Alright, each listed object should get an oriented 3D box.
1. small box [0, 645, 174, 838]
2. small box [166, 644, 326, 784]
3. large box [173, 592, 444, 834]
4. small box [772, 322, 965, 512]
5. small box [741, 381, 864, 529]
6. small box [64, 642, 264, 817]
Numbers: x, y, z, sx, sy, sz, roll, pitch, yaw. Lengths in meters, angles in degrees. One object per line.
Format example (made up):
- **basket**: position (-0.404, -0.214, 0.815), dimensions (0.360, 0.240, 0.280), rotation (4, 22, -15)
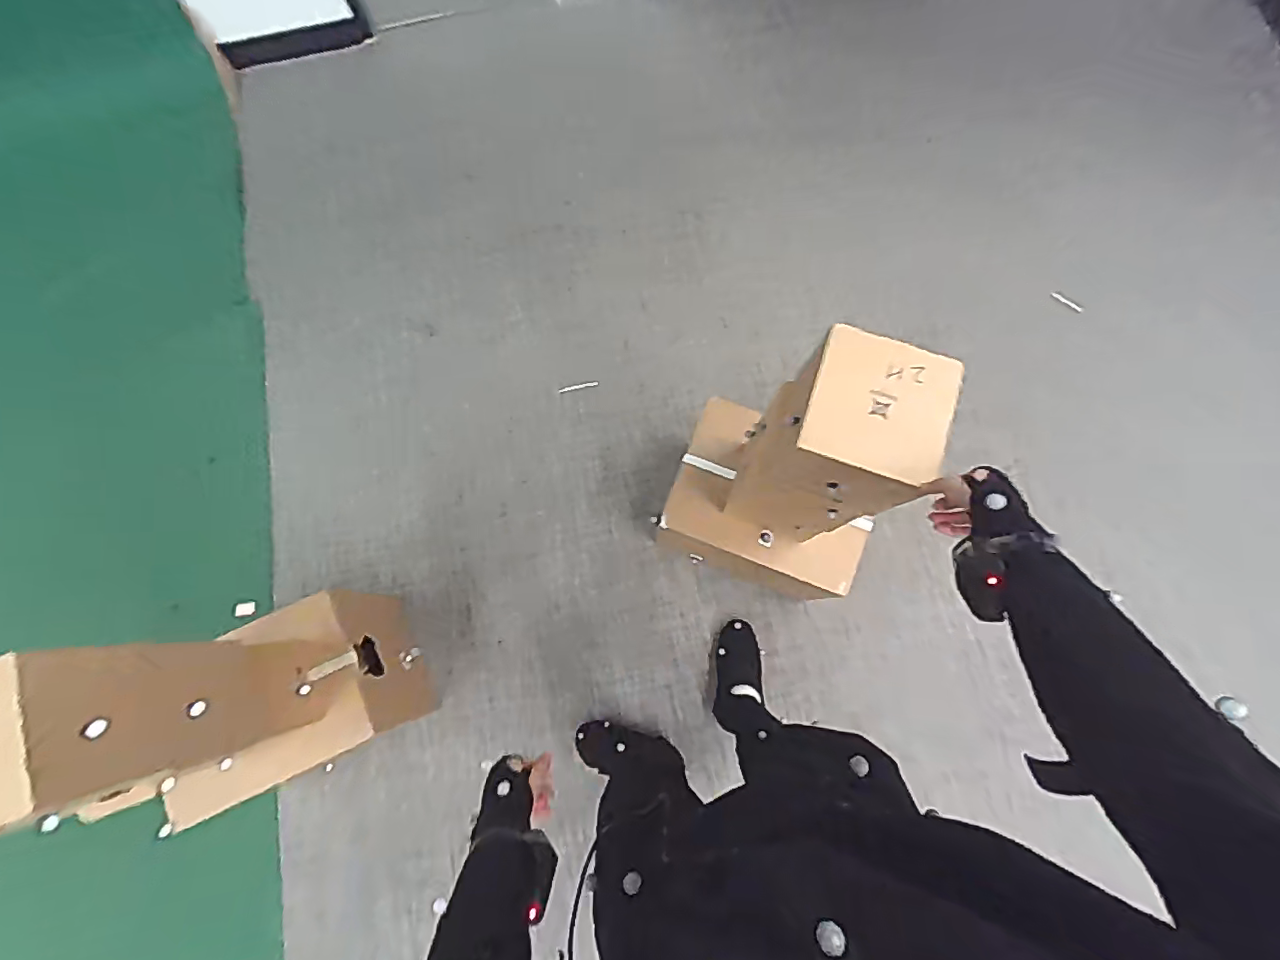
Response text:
- **small box**: position (-0.717, 0.315, 0.652), dimensions (0.168, 0.176, 0.179), rotation (-22, 78, -4)
- **small box**: position (-0.709, 0.406, 0.967), dimensions (0.179, 0.176, 0.168), rotation (-22, 77, -4)
- **large box**: position (-0.724, 0.480, 1.202), dimensions (0.408, 0.320, 0.320), rotation (-26, 75, -3)
- **small box**: position (0.289, -0.071, 0.718), dimensions (0.168, 0.176, 0.179), rotation (20, 76, 4)
- **small box**: position (0.277, -0.031, 0.879), dimensions (0.179, 0.176, 0.168), rotation (20, 76, 5)
- **small box**: position (-0.707, 0.357, 0.811), dimensions (0.168, 0.176, 0.179), rotation (-20, 76, -3)
